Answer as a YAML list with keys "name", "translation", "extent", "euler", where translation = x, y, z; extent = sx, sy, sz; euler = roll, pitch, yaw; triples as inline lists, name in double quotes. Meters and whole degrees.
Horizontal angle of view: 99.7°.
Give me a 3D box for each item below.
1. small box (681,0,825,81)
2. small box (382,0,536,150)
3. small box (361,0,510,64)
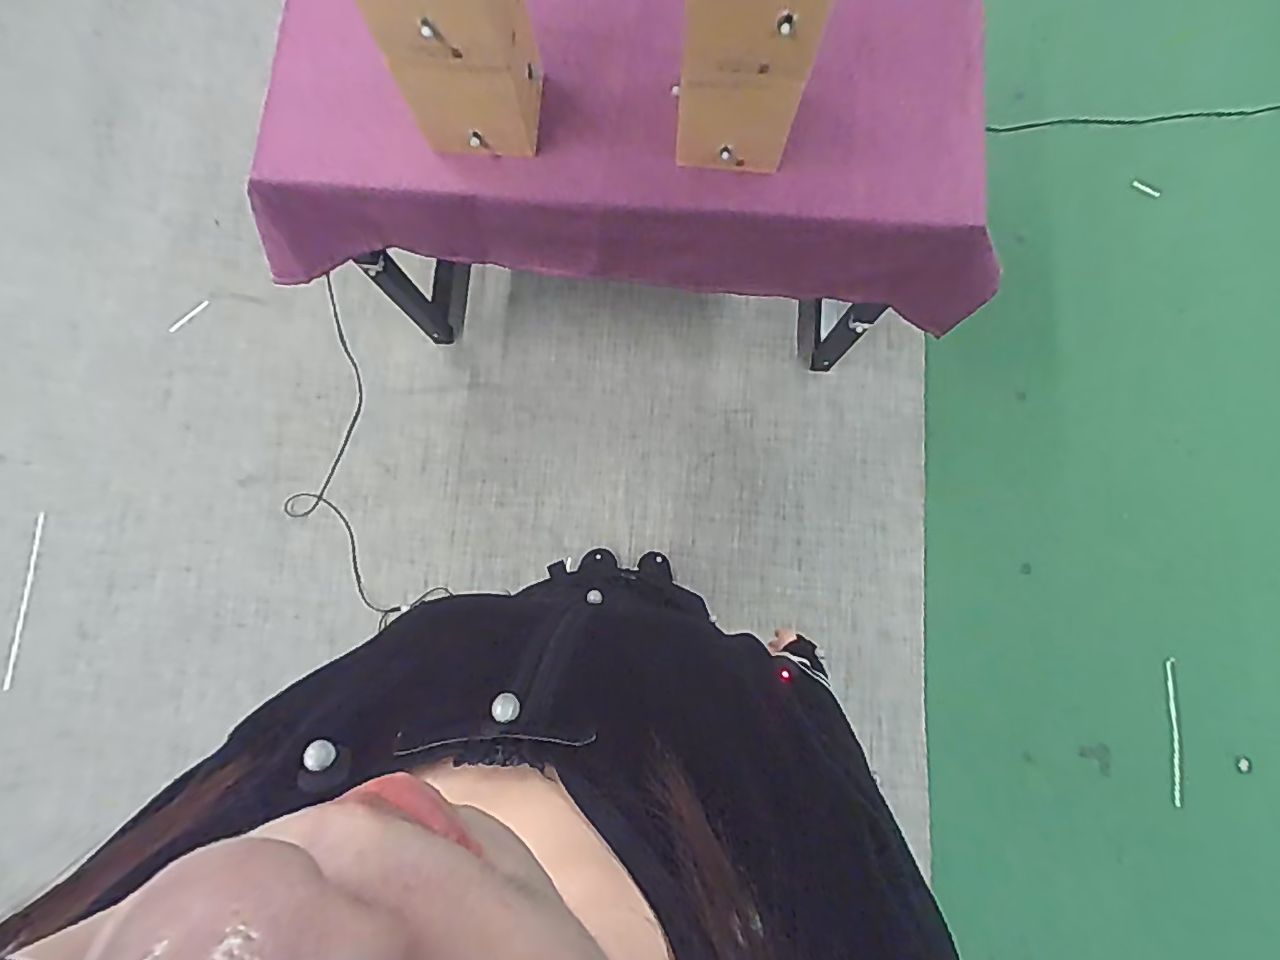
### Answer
- name: "small box"
  translation: [0.140, -0.630, 0.656]
  extent: [0.168, 0.176, 0.179]
  euler: [5, 82, 1]
- name: "small box"
  translation: [-0.260, -0.636, 0.823]
  extent: [0.179, 0.176, 0.168]
  euler: [3, 82, 0]
- name: "small box"
  translation: [-0.260, -0.664, 0.660]
  extent: [0.168, 0.176, 0.179]
  euler: [4, 82, 1]
